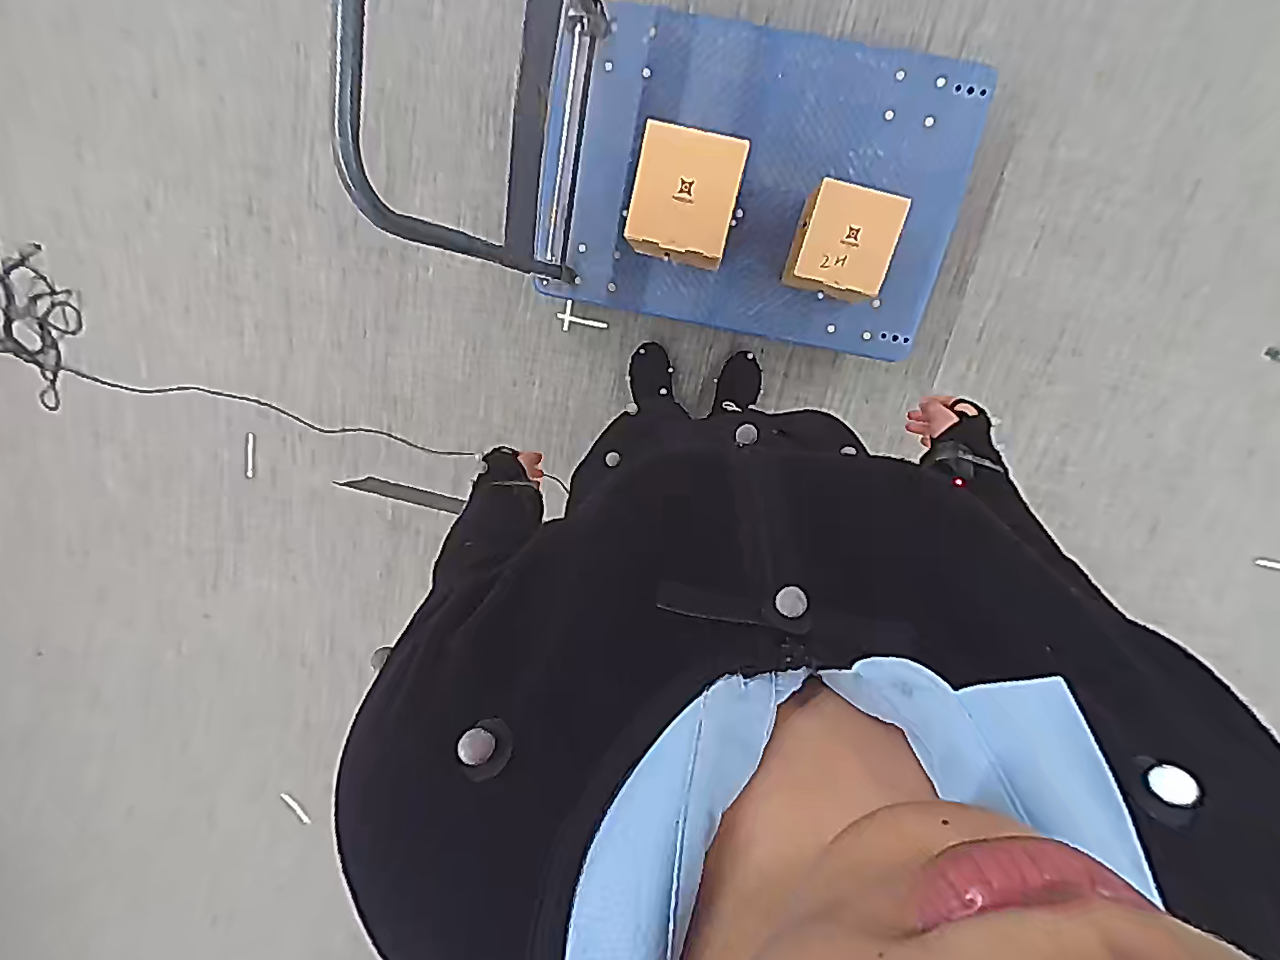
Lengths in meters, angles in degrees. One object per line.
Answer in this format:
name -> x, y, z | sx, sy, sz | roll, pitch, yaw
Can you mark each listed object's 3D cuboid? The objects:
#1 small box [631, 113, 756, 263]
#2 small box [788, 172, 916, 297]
small box -> 0.088, -0.488, 0.931 | 0.168, 0.176, 0.179 | 14, 107, 2
small box -> 0.406, -0.475, 1.072 | 0.168, 0.176, 0.179 | 16, 106, 2
